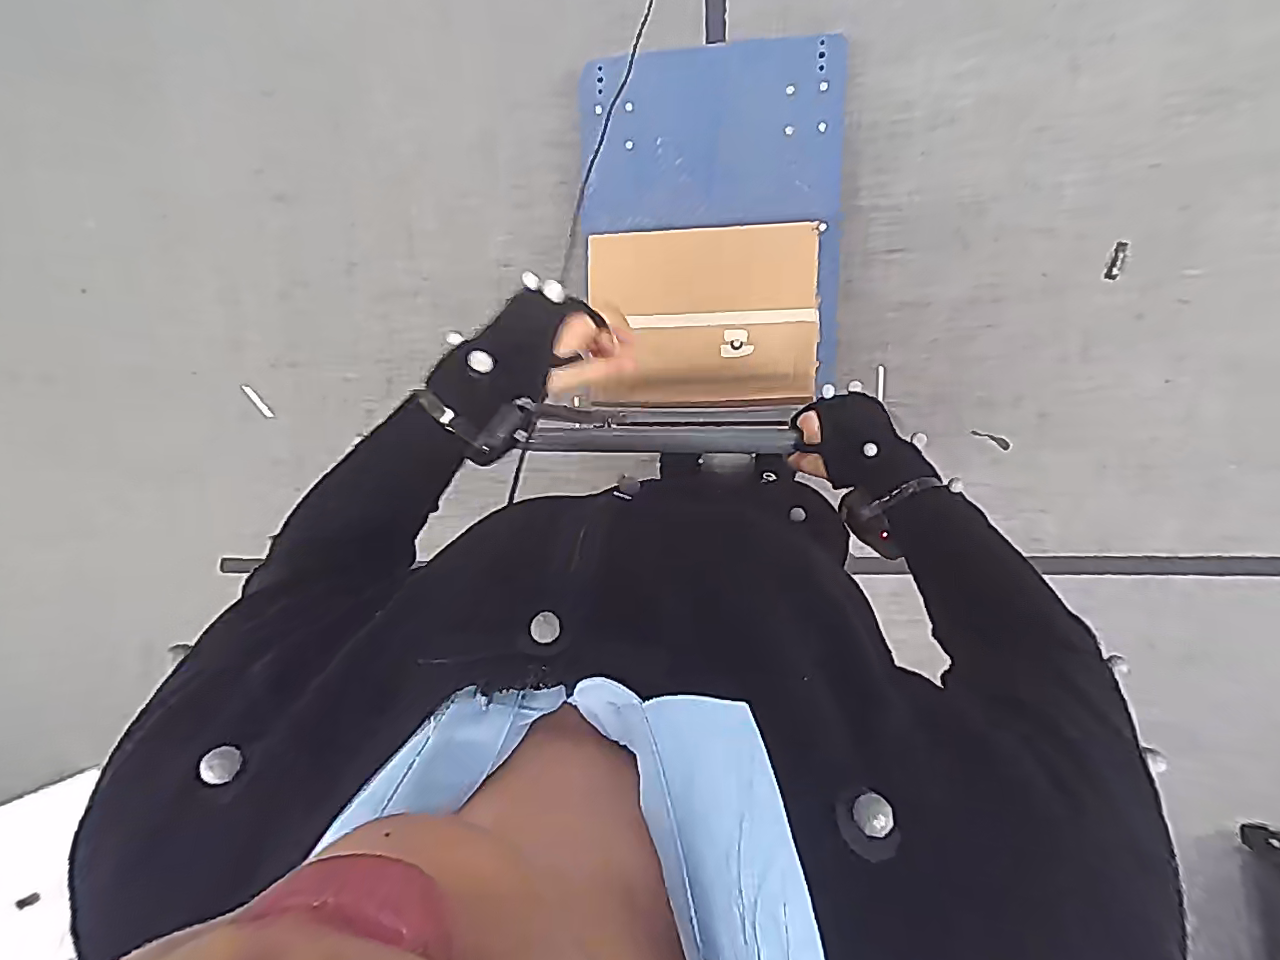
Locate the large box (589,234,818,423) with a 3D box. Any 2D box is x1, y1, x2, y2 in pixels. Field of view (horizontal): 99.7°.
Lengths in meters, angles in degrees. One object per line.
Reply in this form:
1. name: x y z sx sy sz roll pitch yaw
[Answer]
1. large box: 0.126 -0.276 1.100 0.408 0.320 0.320 0 97 8
